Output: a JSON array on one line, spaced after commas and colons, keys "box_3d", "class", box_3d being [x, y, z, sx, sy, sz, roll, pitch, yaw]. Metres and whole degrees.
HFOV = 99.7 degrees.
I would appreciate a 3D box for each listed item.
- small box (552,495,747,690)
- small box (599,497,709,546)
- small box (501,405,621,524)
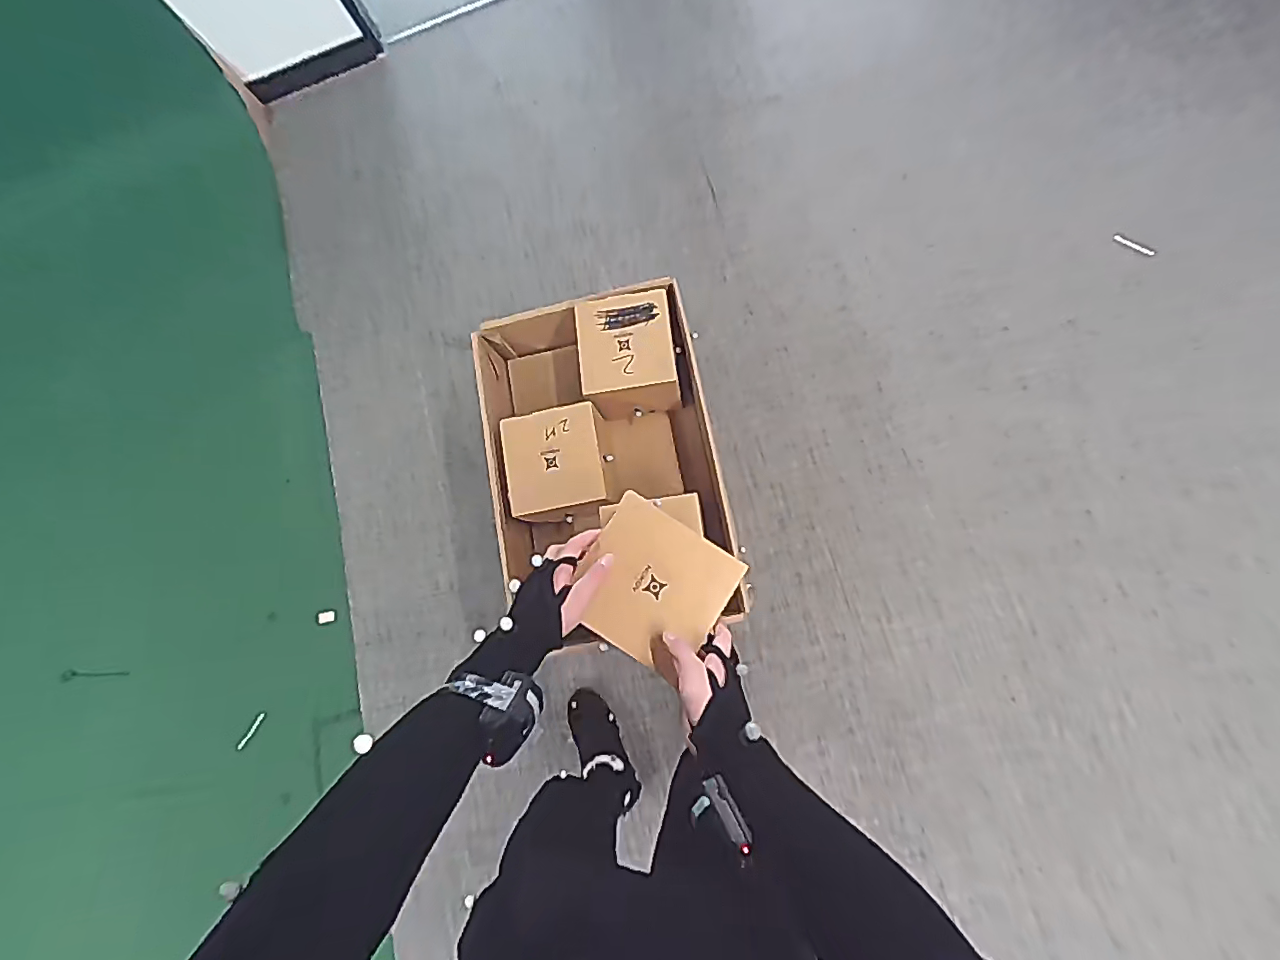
[{"box_3d": [0.012, 0.142, 0.713, 0.179, 0.176, 0.168, 33, 81, 6], "class": "small box"}, {"box_3d": [0.035, 0.134, 0.929, 0.168, 0.176, 0.179, -8, 79, 7], "class": "small box"}, {"box_3d": [-0.136, -0.018, 0.983, 0.168, 0.176, 0.179, -11, 79, 6], "class": "small box"}]
